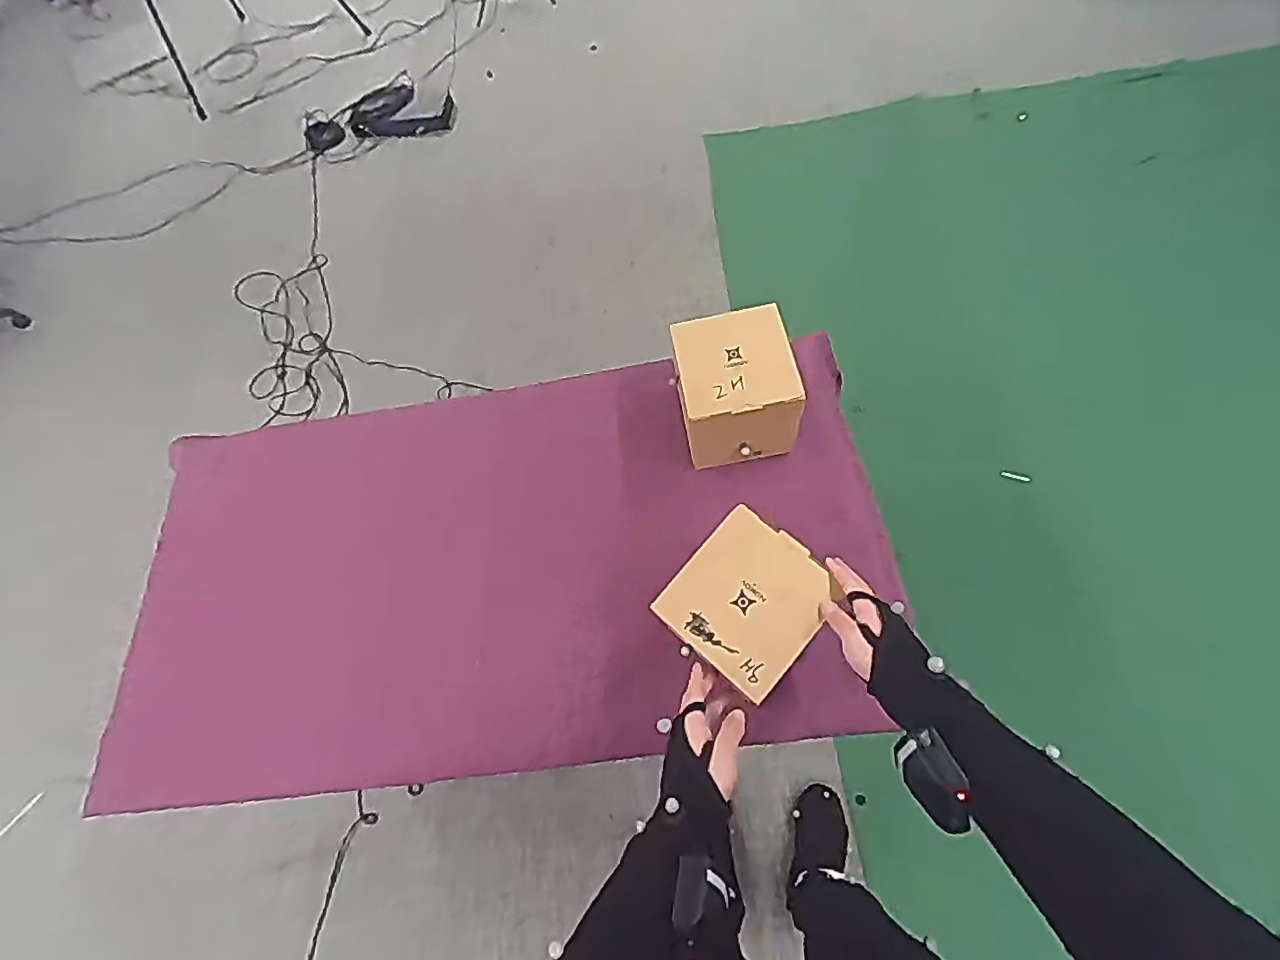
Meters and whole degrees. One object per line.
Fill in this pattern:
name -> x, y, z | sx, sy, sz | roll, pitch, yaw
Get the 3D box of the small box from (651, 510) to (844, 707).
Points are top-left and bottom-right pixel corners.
small box -> 0.137, 0.175, 0.720 | 0.168, 0.176, 0.179 | 39, 80, 22

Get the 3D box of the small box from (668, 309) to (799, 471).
small box -> 0.143, -0.137, 0.862 | 0.168, 0.176, 0.179 | -11, 66, 6
